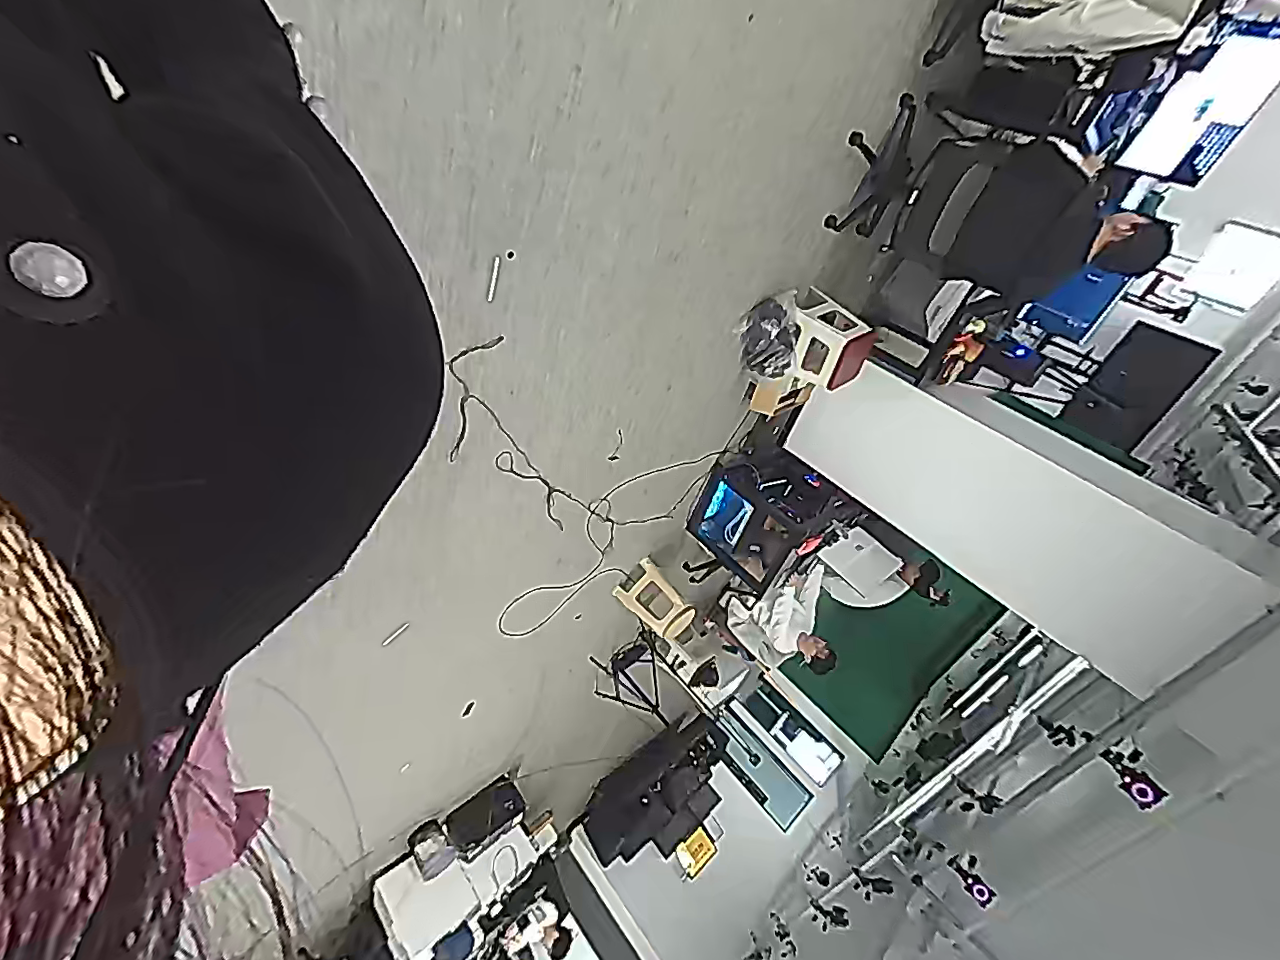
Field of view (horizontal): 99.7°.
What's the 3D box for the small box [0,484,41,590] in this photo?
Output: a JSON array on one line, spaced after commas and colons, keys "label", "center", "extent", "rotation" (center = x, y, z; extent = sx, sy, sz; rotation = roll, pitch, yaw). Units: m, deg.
[{"label": "small box", "center": [-1.403, 0.126, 1.127], "extent": [0.179, 0.176, 0.168], "rotation": [-13, 134, -46]}]
